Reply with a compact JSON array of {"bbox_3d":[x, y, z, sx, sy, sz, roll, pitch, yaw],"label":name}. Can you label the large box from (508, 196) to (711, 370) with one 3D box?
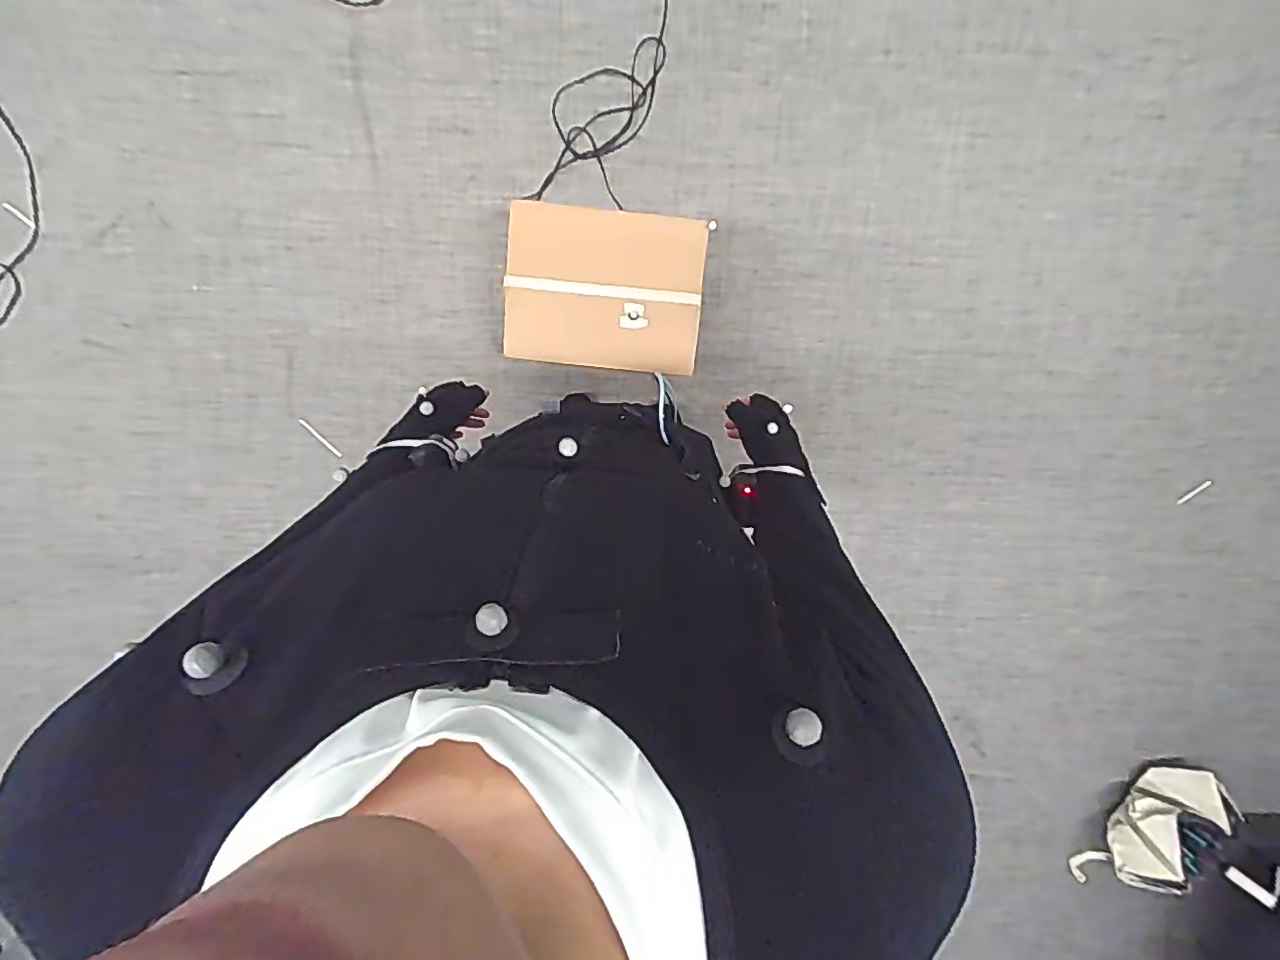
[{"bbox_3d":[-0.070,-0.429,1.253,0.408,0.320,0.320,5,102,-1],"label":"large box"}]
